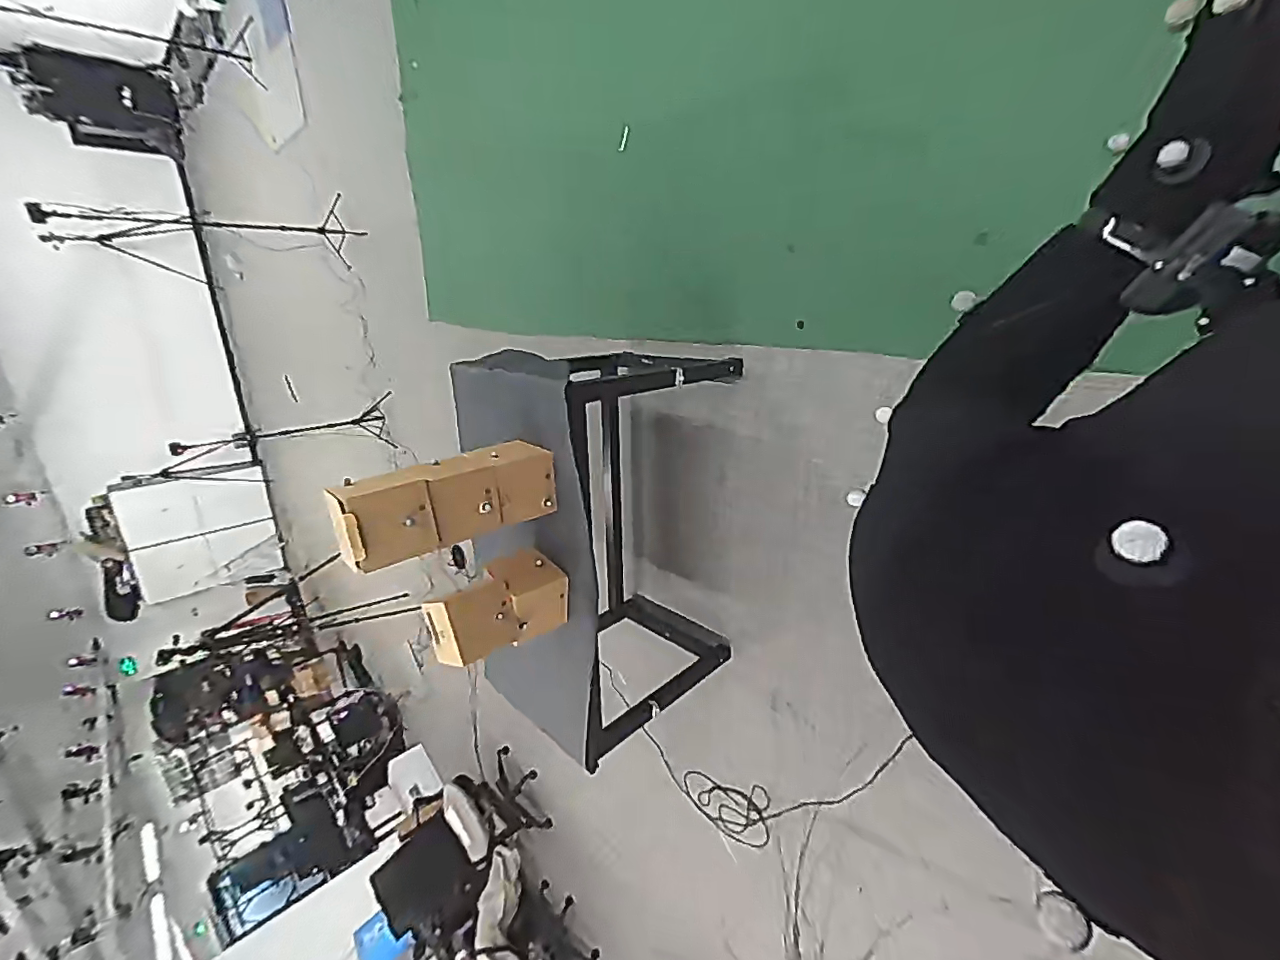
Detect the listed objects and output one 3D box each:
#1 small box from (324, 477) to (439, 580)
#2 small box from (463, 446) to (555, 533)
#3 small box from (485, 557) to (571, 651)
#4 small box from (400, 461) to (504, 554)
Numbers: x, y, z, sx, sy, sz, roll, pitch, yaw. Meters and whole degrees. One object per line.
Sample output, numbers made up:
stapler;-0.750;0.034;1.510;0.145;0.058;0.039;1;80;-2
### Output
small box;-0.564;0.097;1.187;0.179;0.176;0.168;9;112;47
small box;-0.333;0.016;1.406;0.179;0.176;0.168;19;118;45
small box;-0.311;0.331;1.498;0.179;0.176;0.168;28;123;40
small box;-0.449;0.056;1.299;0.179;0.176;0.168;13;115;45
